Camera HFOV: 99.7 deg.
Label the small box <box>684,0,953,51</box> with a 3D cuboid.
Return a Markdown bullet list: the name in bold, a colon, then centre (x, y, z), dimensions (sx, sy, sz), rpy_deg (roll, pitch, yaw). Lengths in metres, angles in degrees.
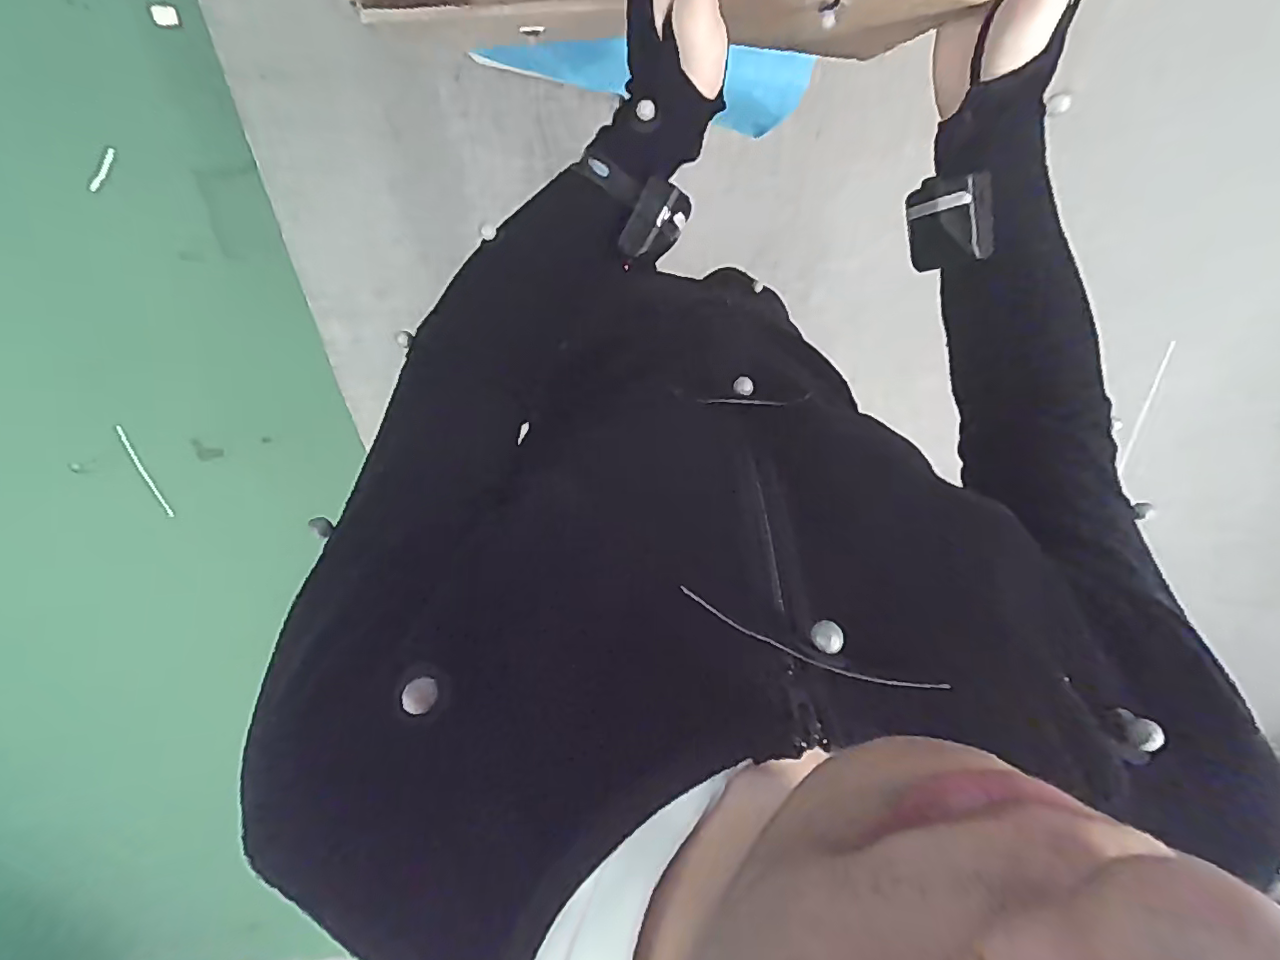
- **small box**: centre (0.133, -0.419, 0.368), dimensions (0.179, 0.176, 0.168), rpy_deg (1, 118, -8)
